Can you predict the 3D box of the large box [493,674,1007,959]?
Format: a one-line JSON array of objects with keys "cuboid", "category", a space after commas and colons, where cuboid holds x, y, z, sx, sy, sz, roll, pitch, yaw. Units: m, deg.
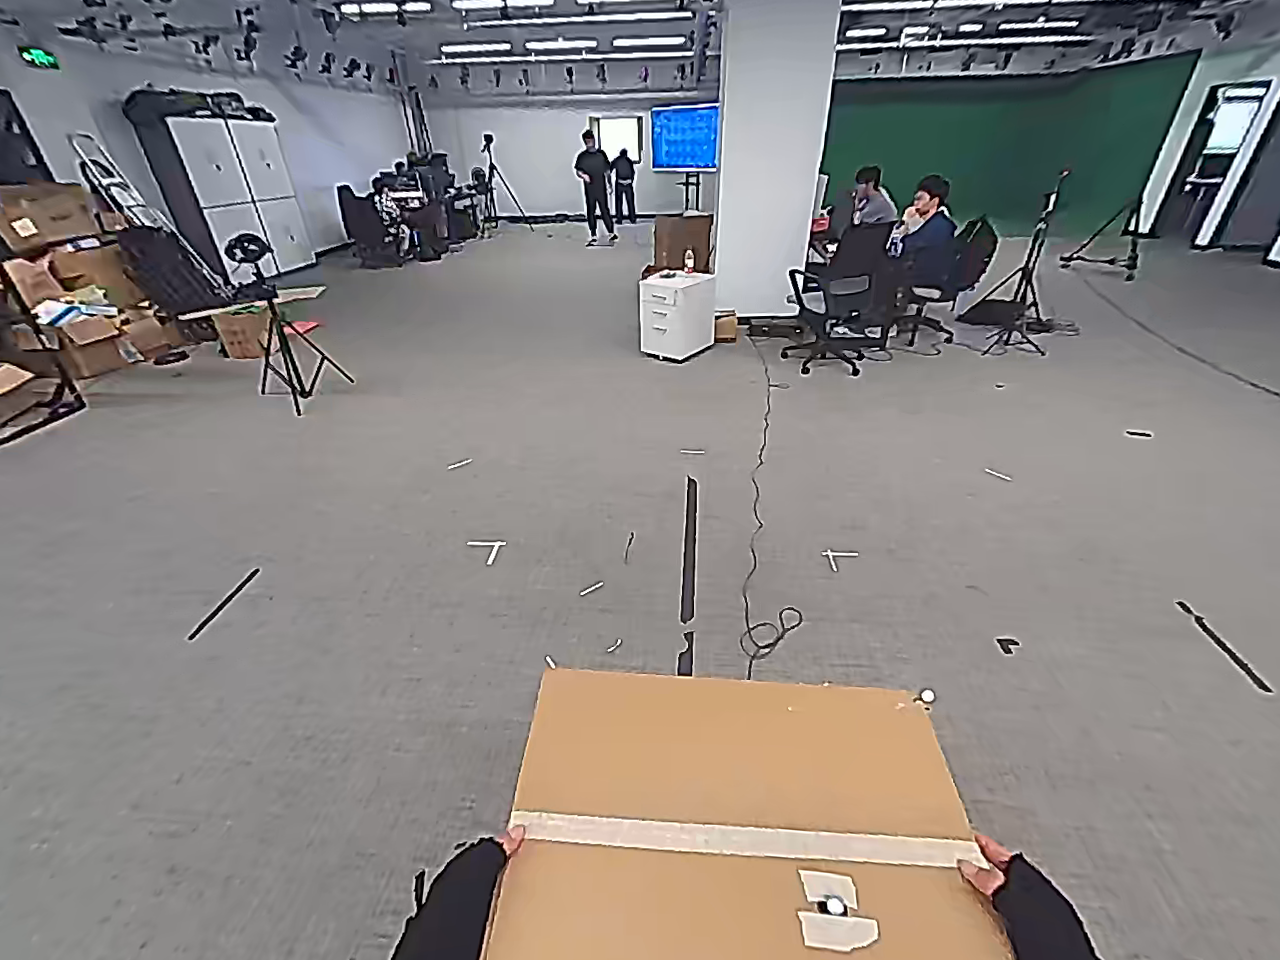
[{"cuboid": [0.085, 0.436, 0.568, 0.408, 0.320, 0.320, 3, 38, 2], "category": "large box"}]
